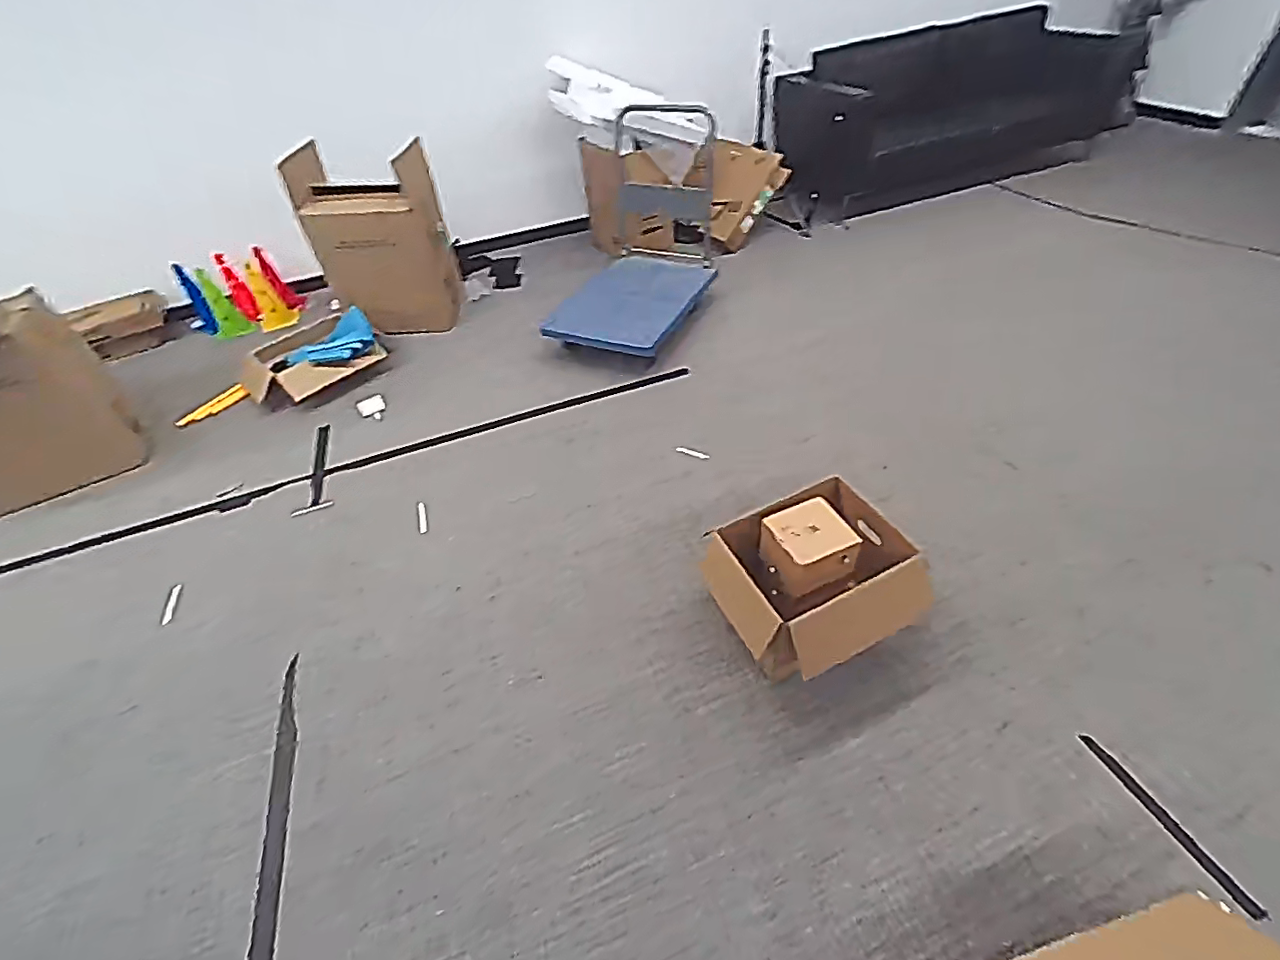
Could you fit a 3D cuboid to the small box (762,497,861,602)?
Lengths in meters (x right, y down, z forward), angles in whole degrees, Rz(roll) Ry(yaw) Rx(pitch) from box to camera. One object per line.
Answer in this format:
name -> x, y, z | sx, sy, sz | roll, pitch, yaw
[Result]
small box -> 0.427, 0.178, 1.379 | 0.179, 0.176, 0.168 | -19, 45, -12
